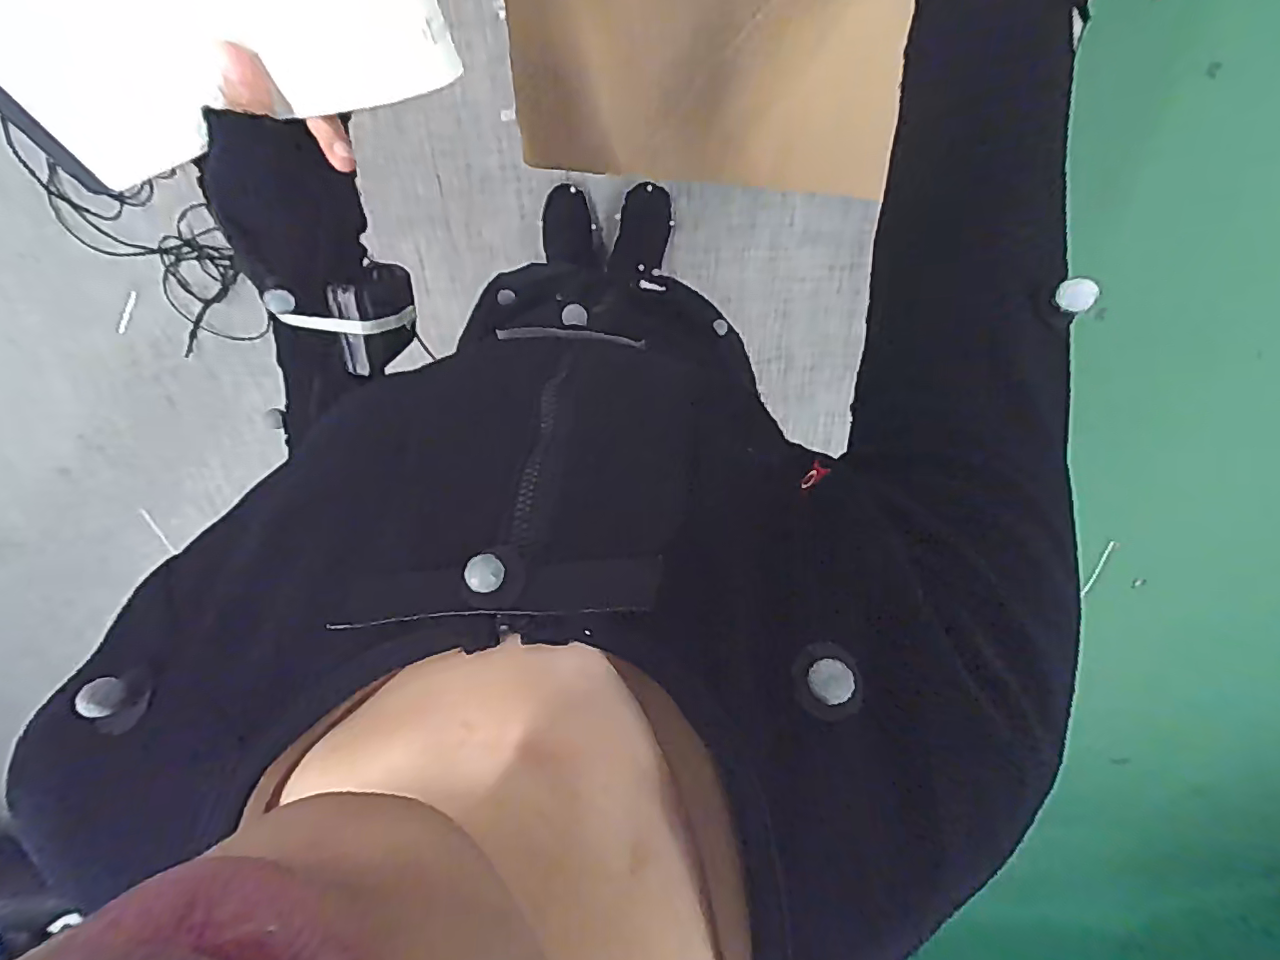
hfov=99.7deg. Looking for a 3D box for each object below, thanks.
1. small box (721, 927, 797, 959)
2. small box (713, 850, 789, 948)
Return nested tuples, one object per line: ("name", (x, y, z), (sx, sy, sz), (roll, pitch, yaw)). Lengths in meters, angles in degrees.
("small box", (0.290, 1.206, 1.301), (0.168, 0.176, 0.179), (-1, 125, 1))
("small box", (0.288, 1.112, 1.435), (0.168, 0.176, 0.179), (-2, 124, 1))
